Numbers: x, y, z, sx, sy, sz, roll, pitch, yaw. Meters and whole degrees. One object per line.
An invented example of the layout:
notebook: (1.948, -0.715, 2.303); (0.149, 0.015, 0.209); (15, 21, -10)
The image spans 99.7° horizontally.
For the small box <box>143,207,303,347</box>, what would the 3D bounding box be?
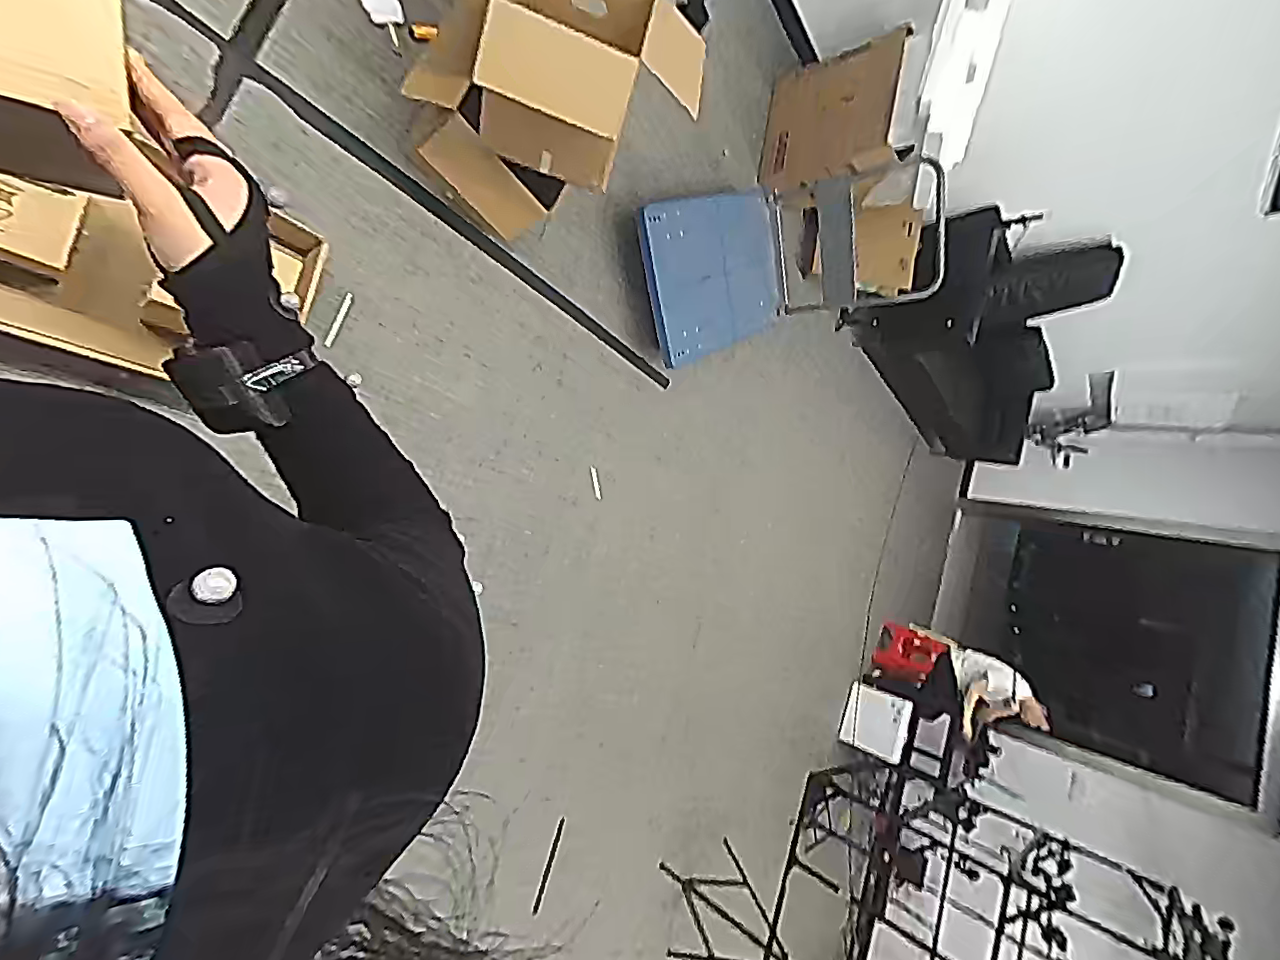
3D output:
small box: (-0.749, -0.351, 0.971); (0.179, 0.176, 0.168); (22, 80, -45)

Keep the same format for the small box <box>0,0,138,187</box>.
small box: (-0.408, -0.291, 0.305); (0.179, 0.176, 0.168); (-4, 101, -45)

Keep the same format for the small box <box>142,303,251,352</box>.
small box: (-0.864, -0.371, 1.085); (0.168, 0.176, 0.179); (23, 79, -46)
